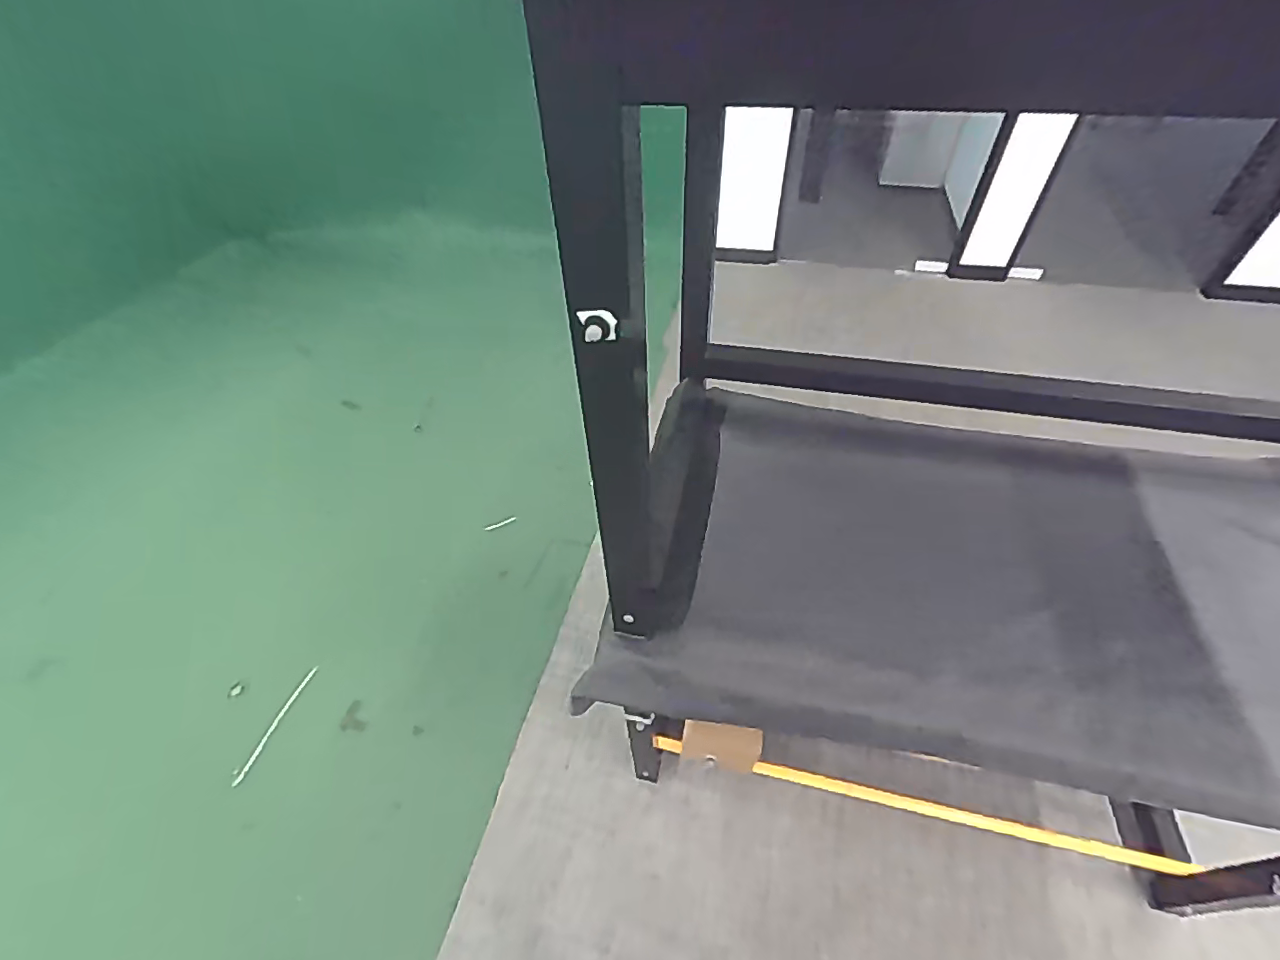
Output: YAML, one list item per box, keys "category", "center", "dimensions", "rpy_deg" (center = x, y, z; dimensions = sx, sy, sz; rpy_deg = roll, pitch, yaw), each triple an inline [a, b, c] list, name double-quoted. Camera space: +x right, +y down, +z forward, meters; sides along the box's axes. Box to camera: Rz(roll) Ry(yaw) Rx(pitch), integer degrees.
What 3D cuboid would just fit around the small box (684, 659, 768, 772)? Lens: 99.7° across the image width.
- category: "small box"
  center: [0.195, 0.545, 1.248]
  dimensions: [0.168, 0.176, 0.179]
  rpy_deg: [8, 50, 9]
